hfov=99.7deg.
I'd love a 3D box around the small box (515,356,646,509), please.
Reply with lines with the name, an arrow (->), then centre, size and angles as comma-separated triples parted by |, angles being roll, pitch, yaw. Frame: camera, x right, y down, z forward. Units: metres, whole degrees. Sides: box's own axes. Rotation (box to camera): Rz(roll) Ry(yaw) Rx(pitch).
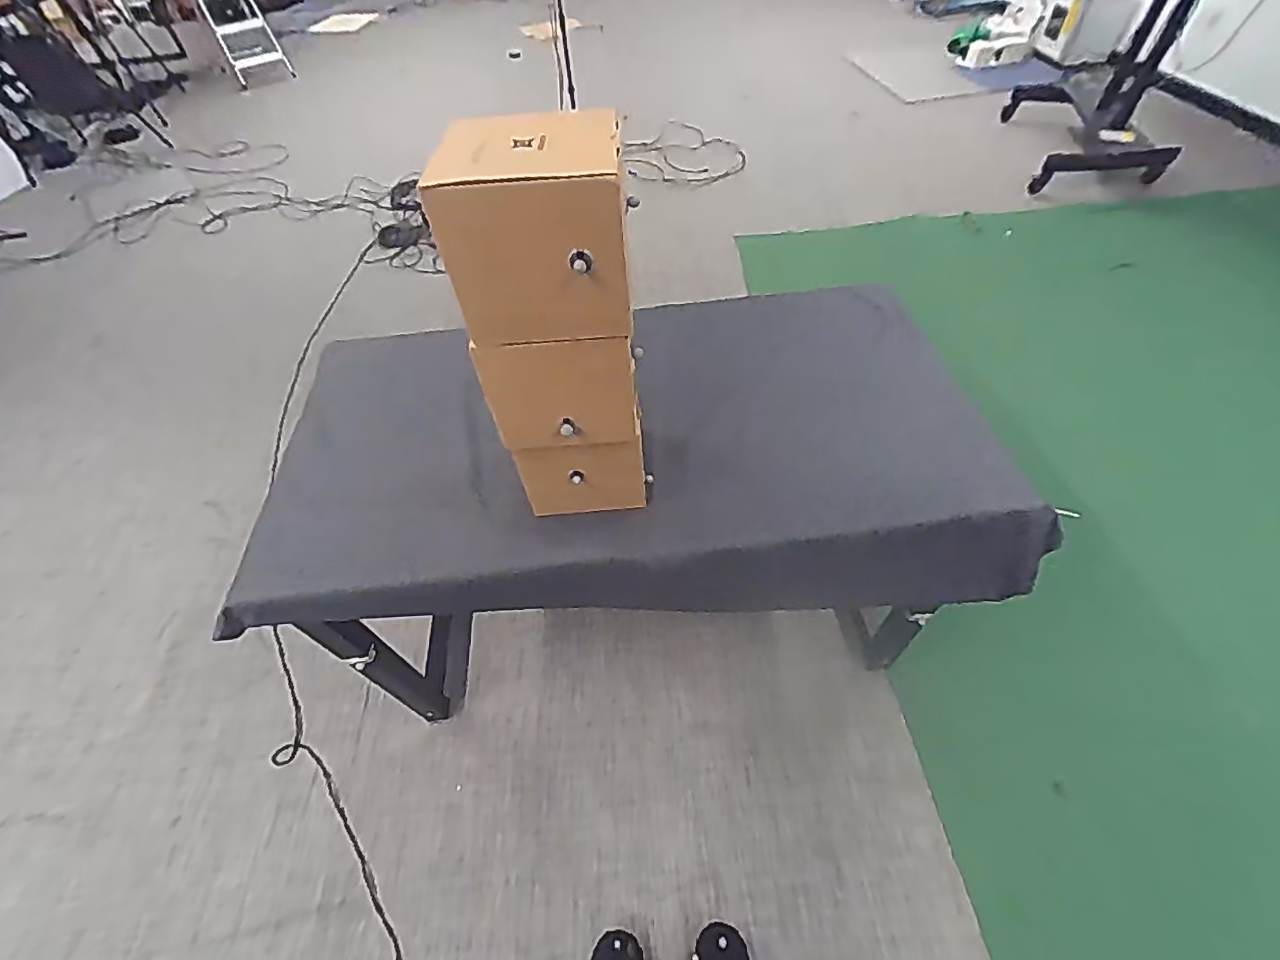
small box -> -0.082, -0.071, 0.834 | 0.179, 0.176, 0.168 | -5, 52, 1

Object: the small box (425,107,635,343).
small box -> -0.096, -0.264, 0.572 | 0.179, 0.176, 0.168 | -4, 50, 2

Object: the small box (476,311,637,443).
small box -> -0.094, -0.164, 0.701 | 0.179, 0.176, 0.168 | -4, 51, 0
